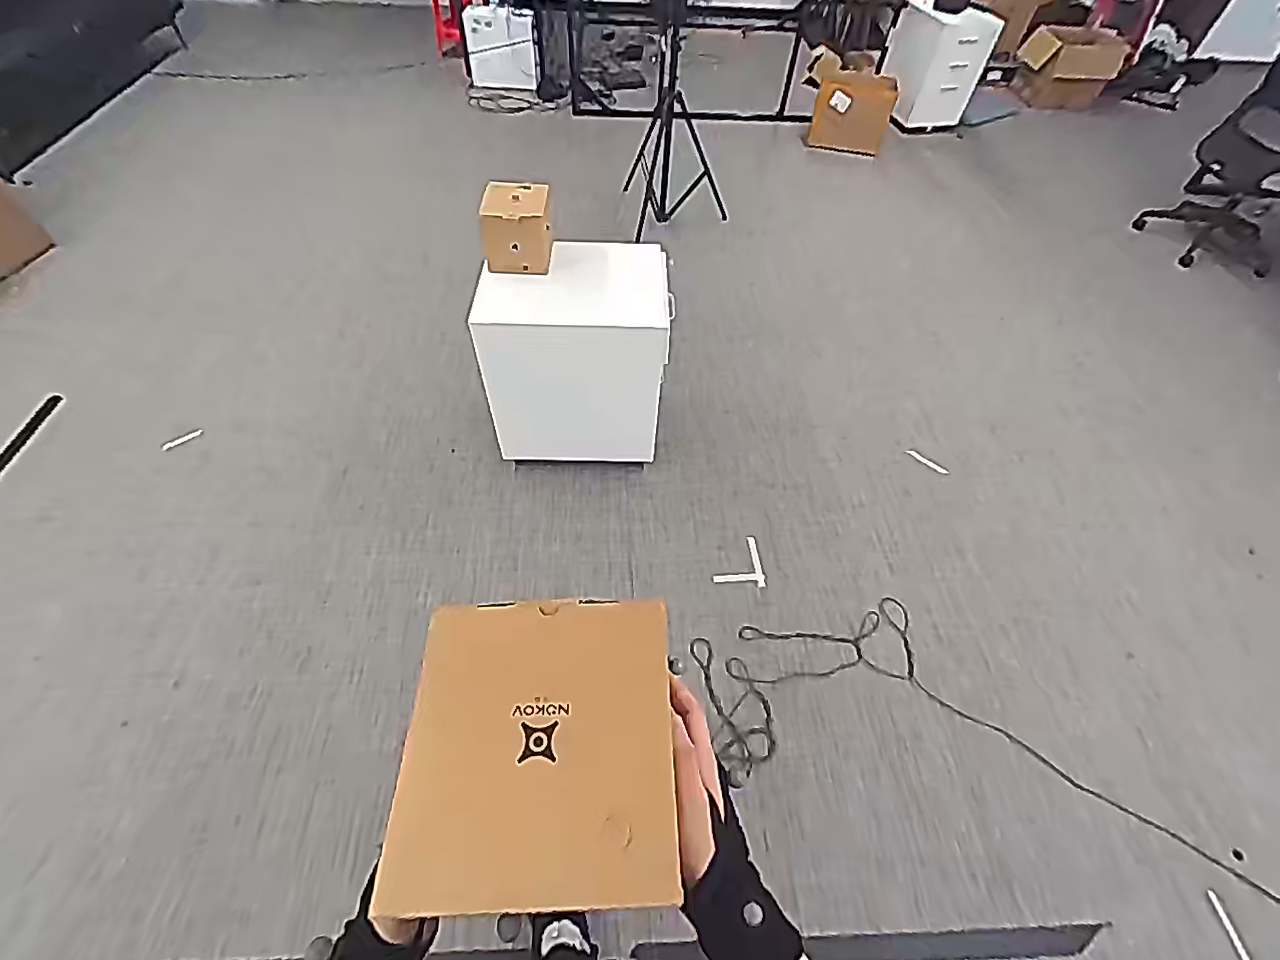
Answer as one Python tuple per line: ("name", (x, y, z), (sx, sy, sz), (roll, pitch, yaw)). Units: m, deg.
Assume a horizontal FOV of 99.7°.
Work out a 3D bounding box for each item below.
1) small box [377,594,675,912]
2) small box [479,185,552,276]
("small box", (-0.062, 0.202, 0.401), (0.168, 0.176, 0.179), (-2, 53, -1))
("small box", (-0.335, -0.685, 1.493), (0.168, 0.176, 0.179), (1, 55, -3))
